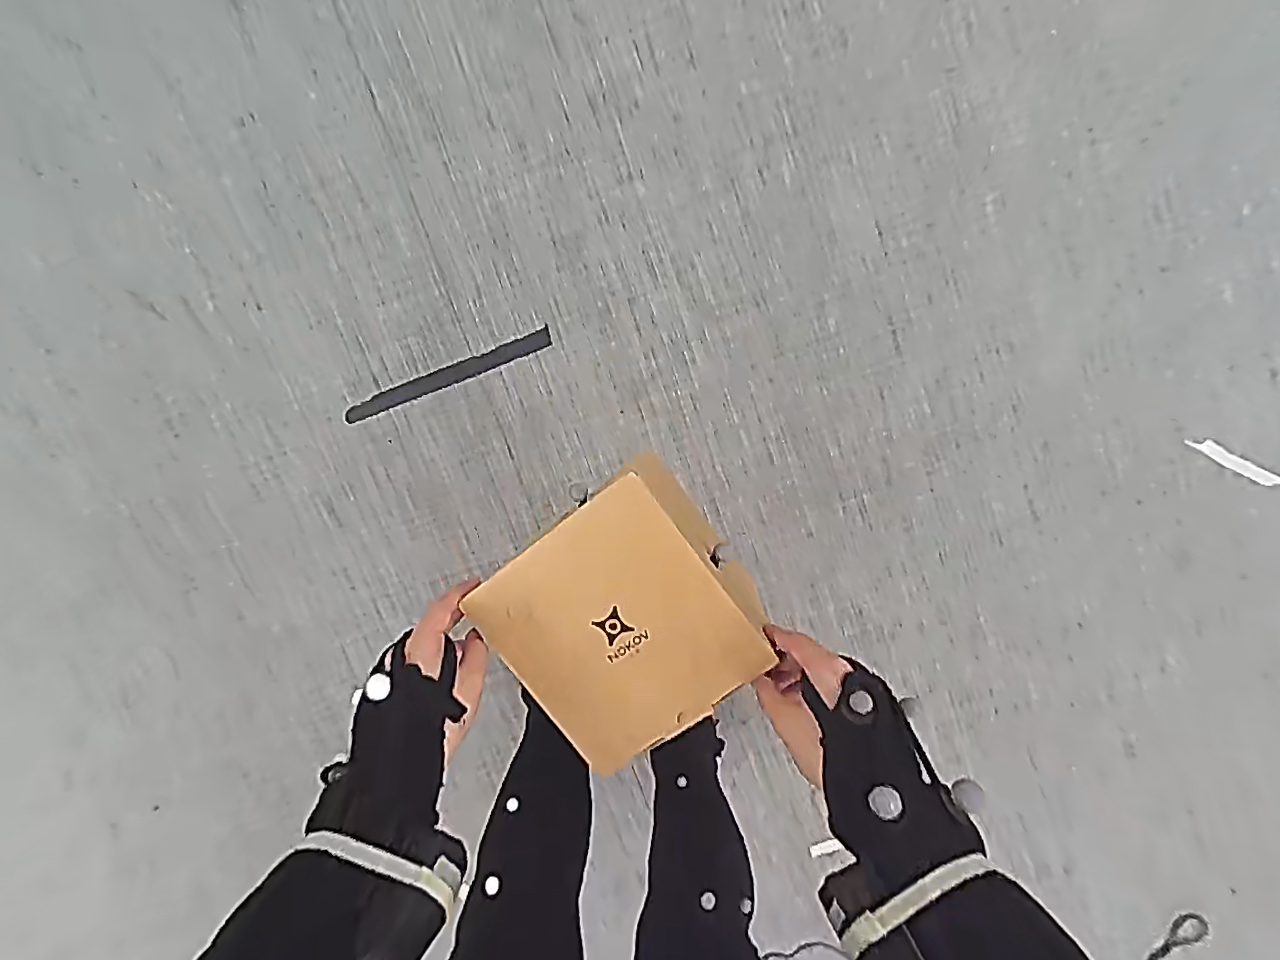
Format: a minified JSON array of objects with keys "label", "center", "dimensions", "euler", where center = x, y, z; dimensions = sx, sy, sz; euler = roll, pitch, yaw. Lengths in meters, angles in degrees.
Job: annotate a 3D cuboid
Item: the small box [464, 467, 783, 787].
[{"label":"small box","center":[-0.009,0.103,0.463],"dimensions":[0.168,0.176,0.179],"euler":[-37,95,9]}]
